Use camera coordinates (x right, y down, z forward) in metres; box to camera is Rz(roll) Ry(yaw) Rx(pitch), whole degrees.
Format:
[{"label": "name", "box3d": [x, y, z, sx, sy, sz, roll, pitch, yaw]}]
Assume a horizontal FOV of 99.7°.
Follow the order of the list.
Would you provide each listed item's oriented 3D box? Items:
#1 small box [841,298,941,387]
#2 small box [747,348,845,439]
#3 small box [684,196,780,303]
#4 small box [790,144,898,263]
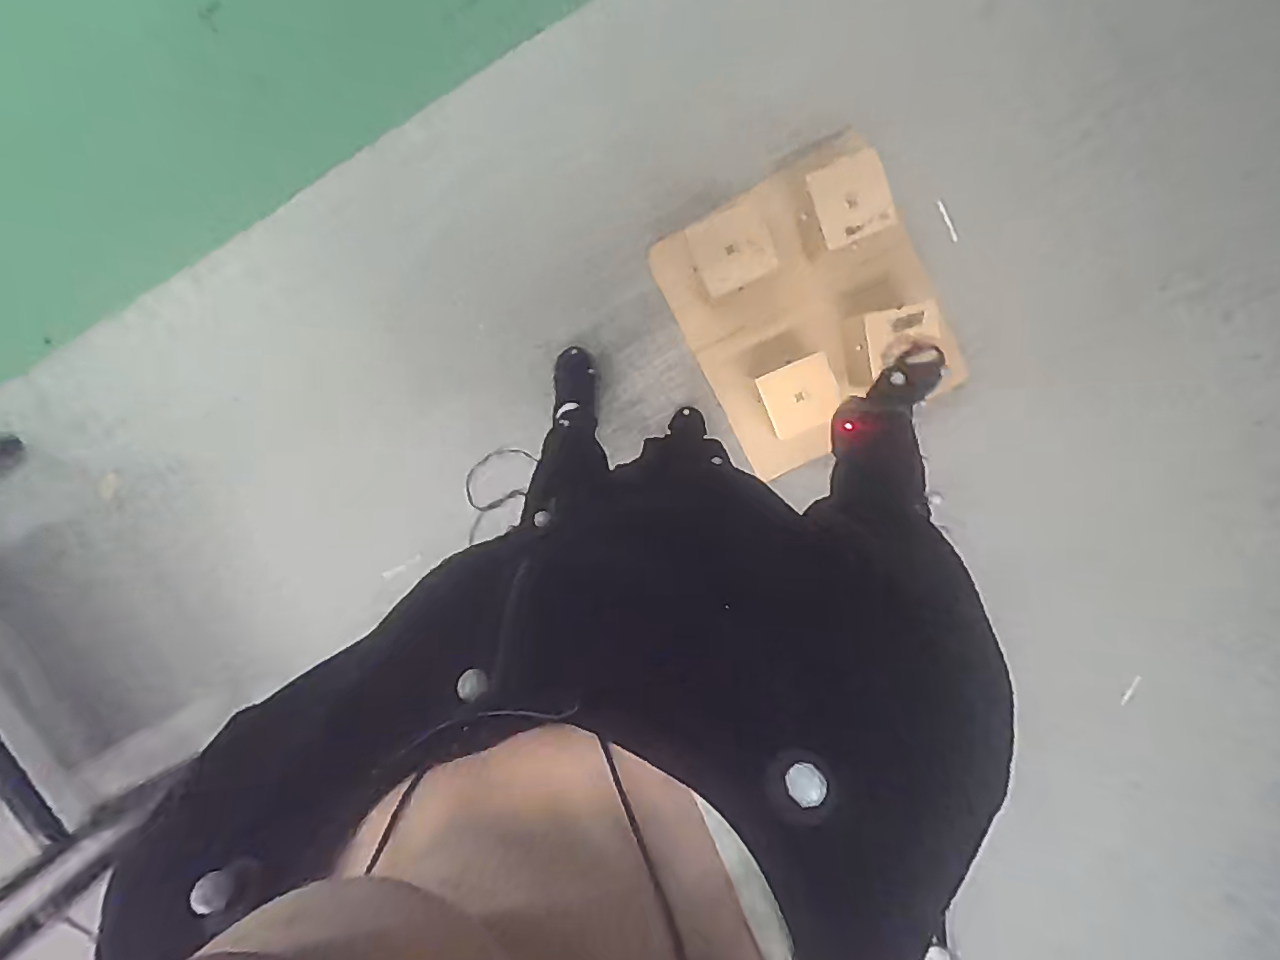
[{"label": "small box", "box3d": [0.608, -0.331, 1.326, 0.168, 0.176, 0.179, -11, 101, 4]}, {"label": "small box", "box3d": [0.380, -0.216, 1.357, 0.179, 0.176, 0.168, -23, 99, 5]}, {"label": "small box", "box3d": [0.214, -0.543, 1.304, 0.179, 0.176, 0.168, -22, 100, 6]}, {"label": "small box", "box3d": [0.472, -0.642, 1.277, 0.168, 0.176, 0.179, -20, 99, 5]}]
